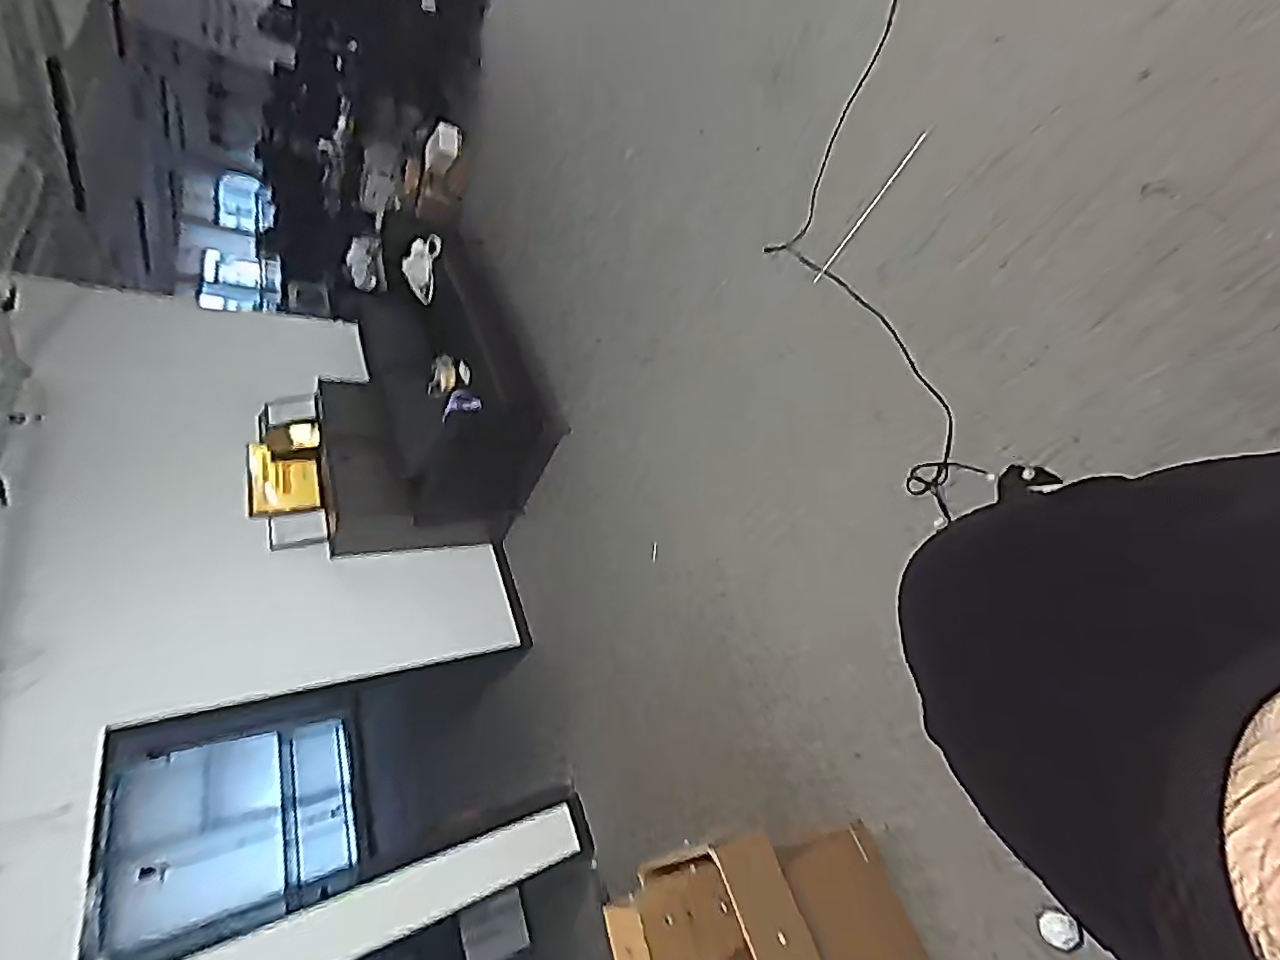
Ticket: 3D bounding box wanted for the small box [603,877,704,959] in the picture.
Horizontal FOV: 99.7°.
[{"bbox_3d":[0.038,1.113,1.341,0.179,0.176,0.168,-47,53,44],"label":"small box"}]
